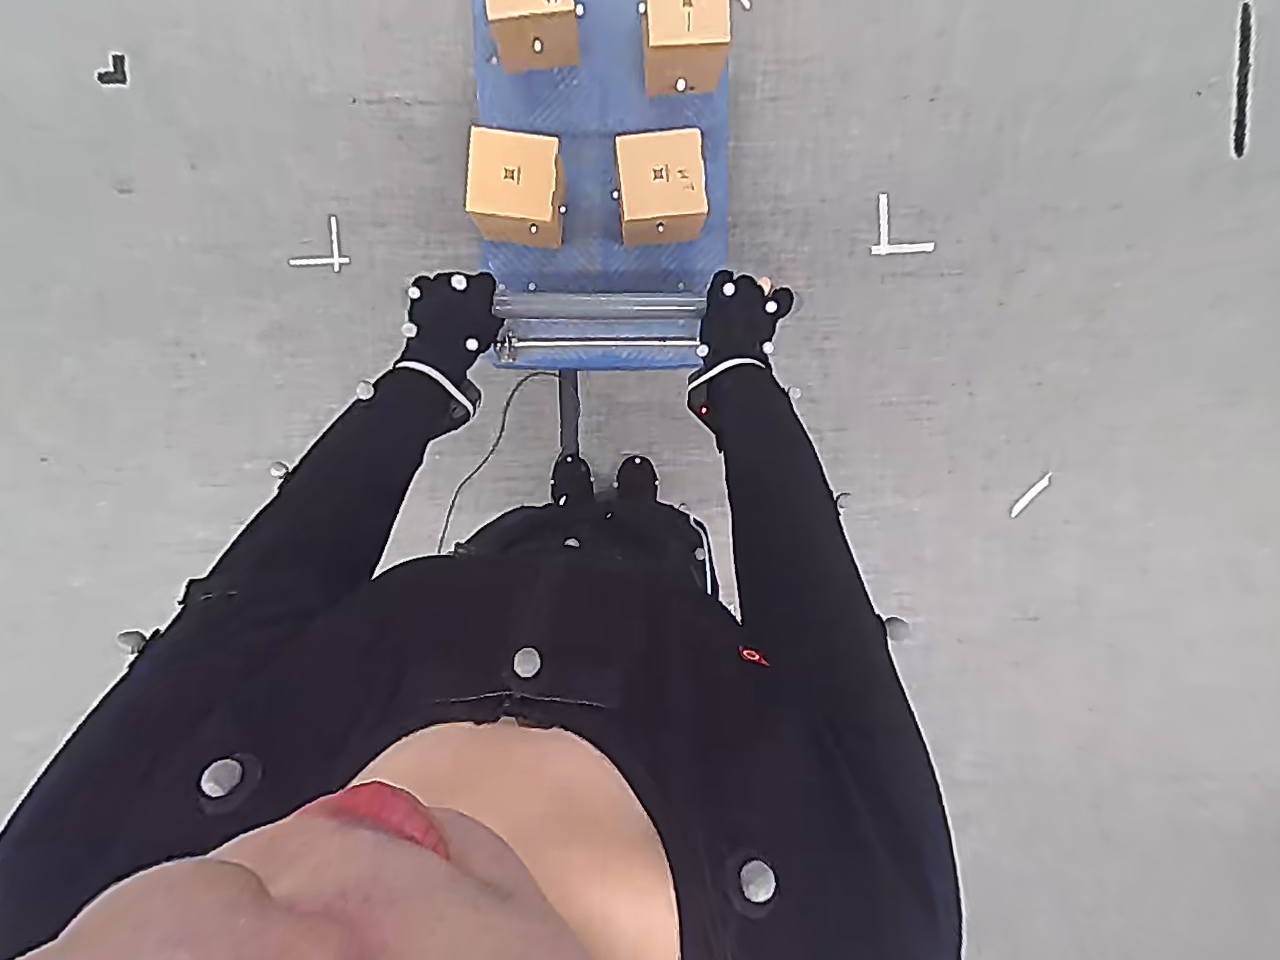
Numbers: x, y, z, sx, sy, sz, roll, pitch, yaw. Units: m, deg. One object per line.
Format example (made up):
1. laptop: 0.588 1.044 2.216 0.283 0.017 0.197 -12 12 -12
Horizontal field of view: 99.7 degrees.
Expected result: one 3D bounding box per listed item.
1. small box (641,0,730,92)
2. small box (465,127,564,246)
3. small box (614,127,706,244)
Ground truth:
1. small box: 0.090 -0.963 1.141 0.168 0.176 0.179 -4 97 -1
2. small box: -0.263 -0.621 1.163 0.179 0.176 0.168 5 95 -4
3. small box: 0.041 -0.628 1.173 0.179 0.176 0.168 -7 96 -1
